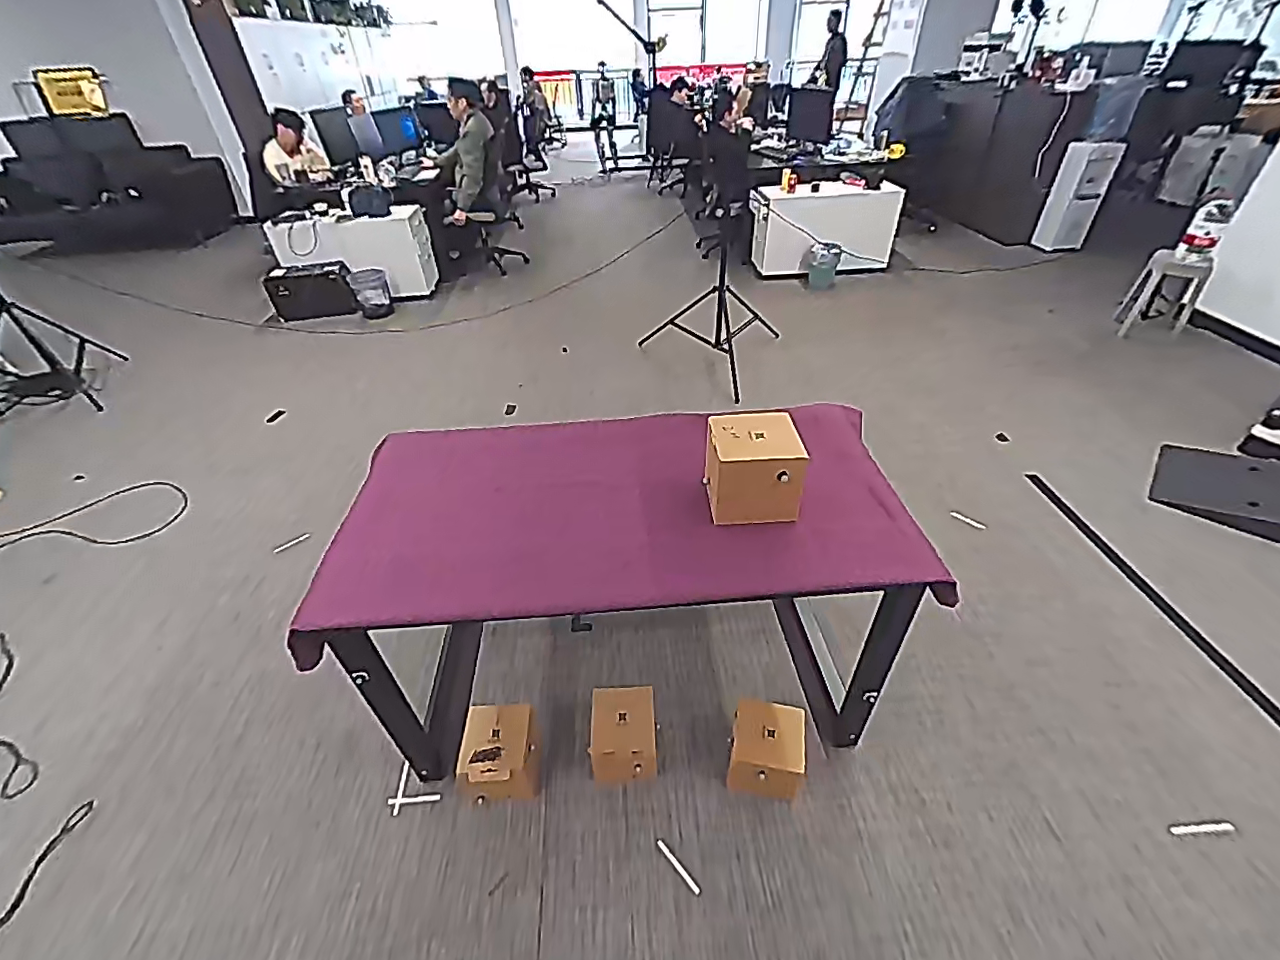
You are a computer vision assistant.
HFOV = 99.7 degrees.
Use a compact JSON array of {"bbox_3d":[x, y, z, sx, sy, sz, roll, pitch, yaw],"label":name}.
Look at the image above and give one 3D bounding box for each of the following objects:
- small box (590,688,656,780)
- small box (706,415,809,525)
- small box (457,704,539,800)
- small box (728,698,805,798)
[{"bbox_3d":[-0.043,0.684,1.450,0.168,0.176,0.179,-2,38,-1],"label":"small box"},{"bbox_3d":[0.238,-0.021,1.143,0.179,0.176,0.168,-3,38,0],"label":"small box"},{"bbox_3d":[-0.364,0.719,1.422,0.168,0.176,0.179,-3,38,-1],"label":"small box"},{"bbox_3d":[0.328,0.701,1.409,0.179,0.176,0.168,6,40,12],"label":"small box"}]
